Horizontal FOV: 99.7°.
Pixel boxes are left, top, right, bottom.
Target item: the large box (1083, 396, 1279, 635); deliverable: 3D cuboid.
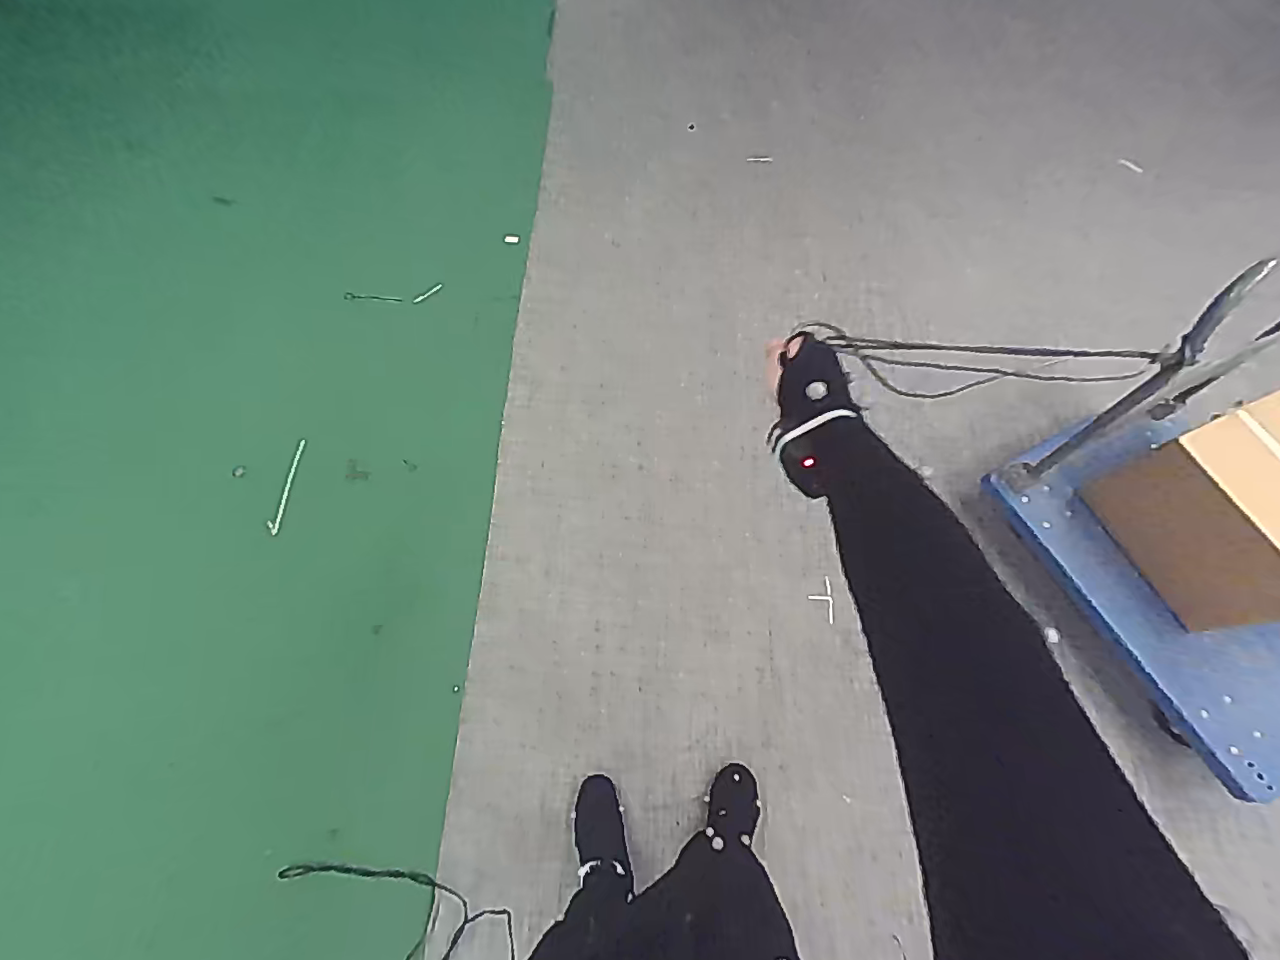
[{"bbox_3d":[1.352,0.087,1.211,0.320,0.320,0.408,-23,69,-6],"label":"large box"}]
